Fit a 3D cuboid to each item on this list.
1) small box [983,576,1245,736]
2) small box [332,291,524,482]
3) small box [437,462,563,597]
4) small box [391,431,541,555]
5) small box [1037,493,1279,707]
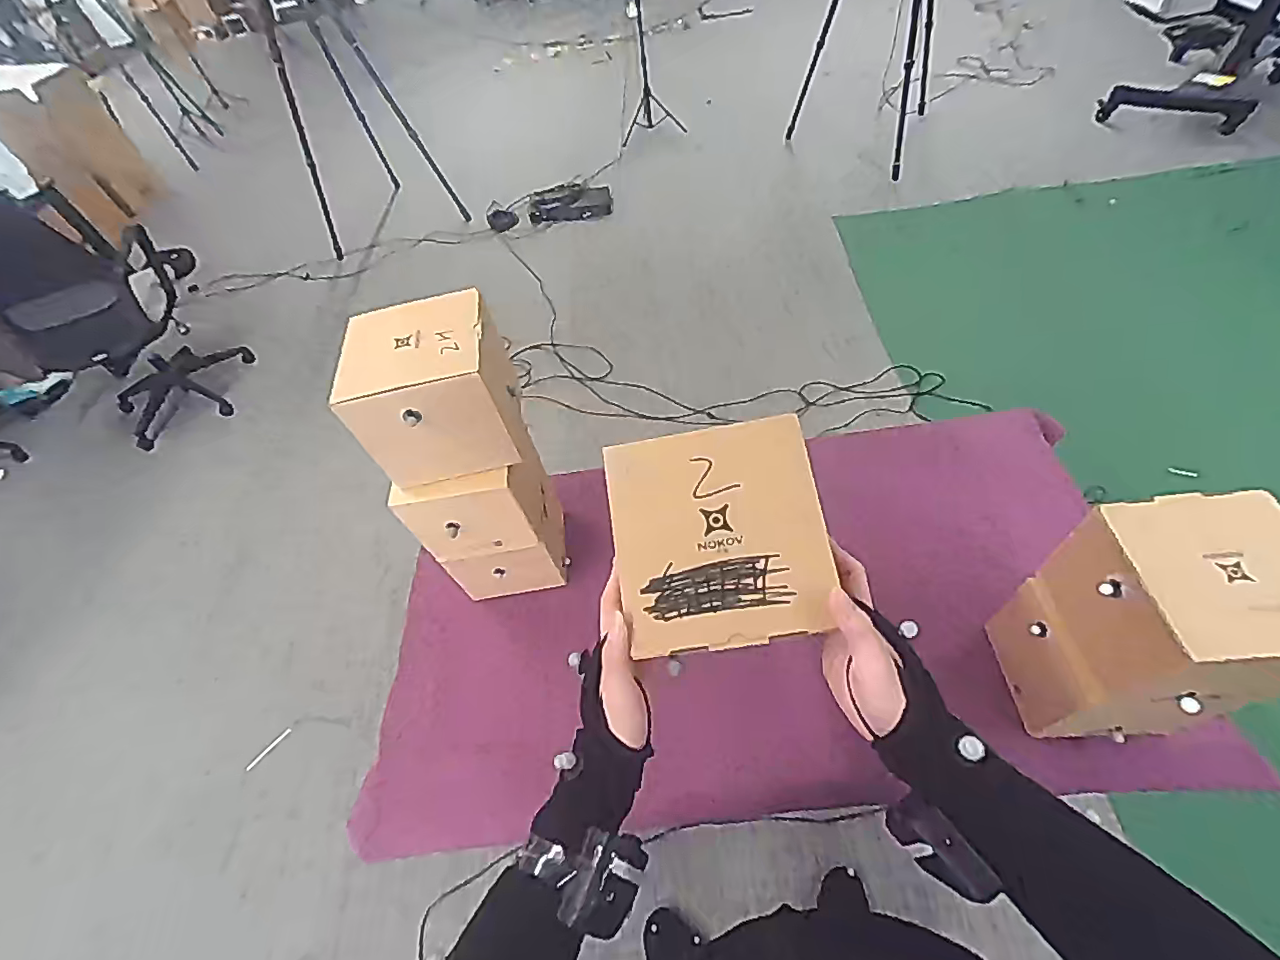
[{"bbox_3d":[0.607,0.237,0.725,0.179,0.176,0.168,-4,52,6],"label":"small box"},{"bbox_3d":[-0.264,-0.117,0.716,0.179,0.176,0.168,-12,53,0],"label":"small box"},{"bbox_3d":[-0.238,0.092,0.966,0.179,0.176,0.168,-10,53,2],"label":"small box"},{"bbox_3d":[-0.253,0.001,0.833,0.168,0.176,0.179,-10,53,2],"label":"small box"},{"bbox_3d":[0.587,0.136,0.597,0.168,0.176,0.179,-6,53,8],"label":"small box"}]
